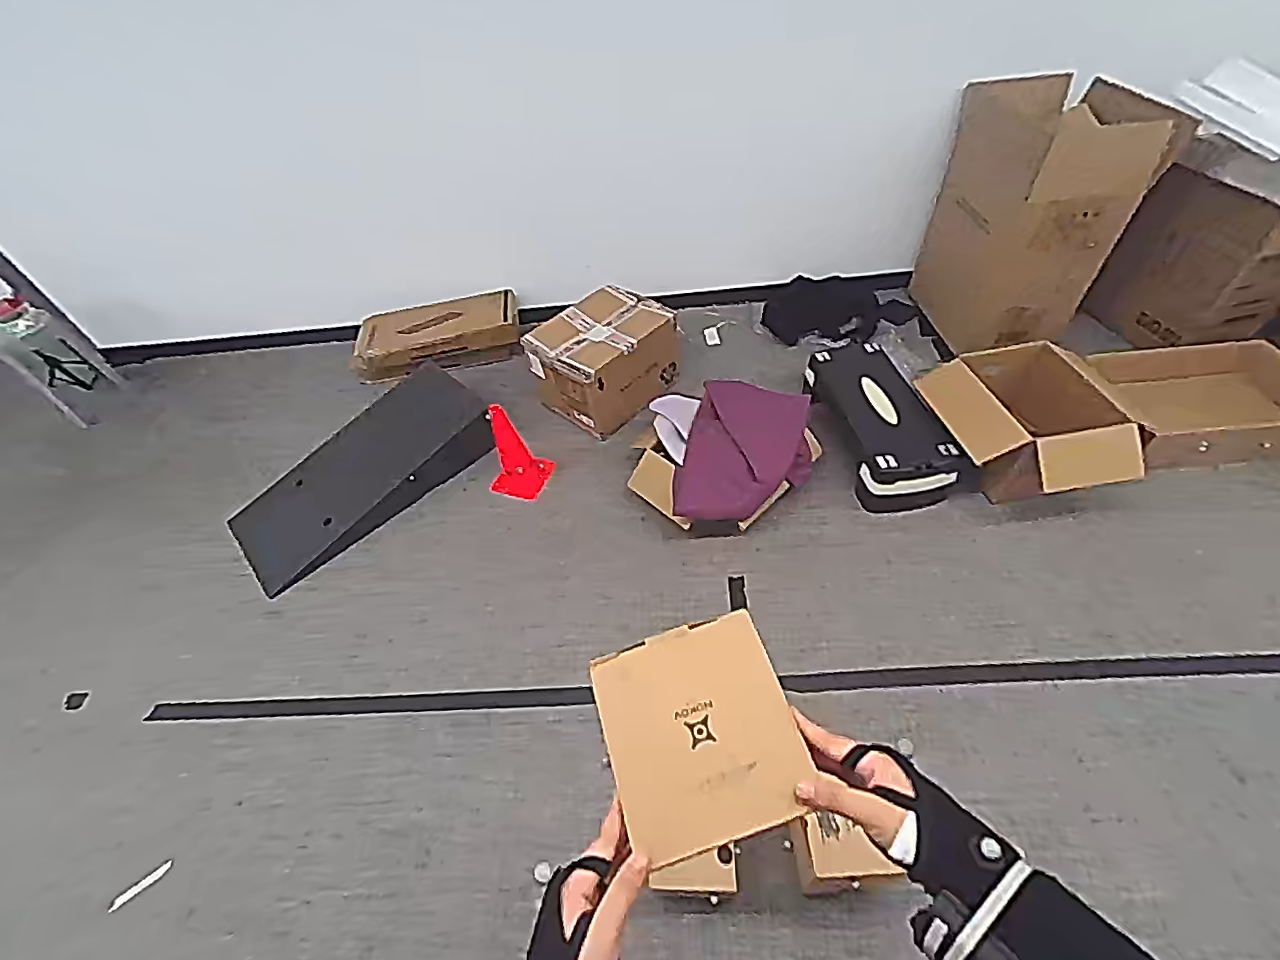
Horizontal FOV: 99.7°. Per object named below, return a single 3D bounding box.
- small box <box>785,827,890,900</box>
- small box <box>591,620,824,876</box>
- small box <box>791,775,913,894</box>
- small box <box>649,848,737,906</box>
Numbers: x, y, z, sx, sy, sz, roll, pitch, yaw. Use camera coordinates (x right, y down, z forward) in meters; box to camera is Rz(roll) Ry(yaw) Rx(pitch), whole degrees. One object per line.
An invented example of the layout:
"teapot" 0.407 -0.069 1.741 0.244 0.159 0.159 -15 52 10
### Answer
"small box" 0.412 0.789 1.161 0.168 0.176 0.179 -5 49 3
"small box" 0.059 0.271 0.548 0.168 0.176 0.179 -18 56 -3
"small box" 0.388 0.682 1.037 0.179 0.176 0.168 -5 48 3
"small box" 0.114 0.815 1.176 0.179 0.176 0.168 -3 48 6
